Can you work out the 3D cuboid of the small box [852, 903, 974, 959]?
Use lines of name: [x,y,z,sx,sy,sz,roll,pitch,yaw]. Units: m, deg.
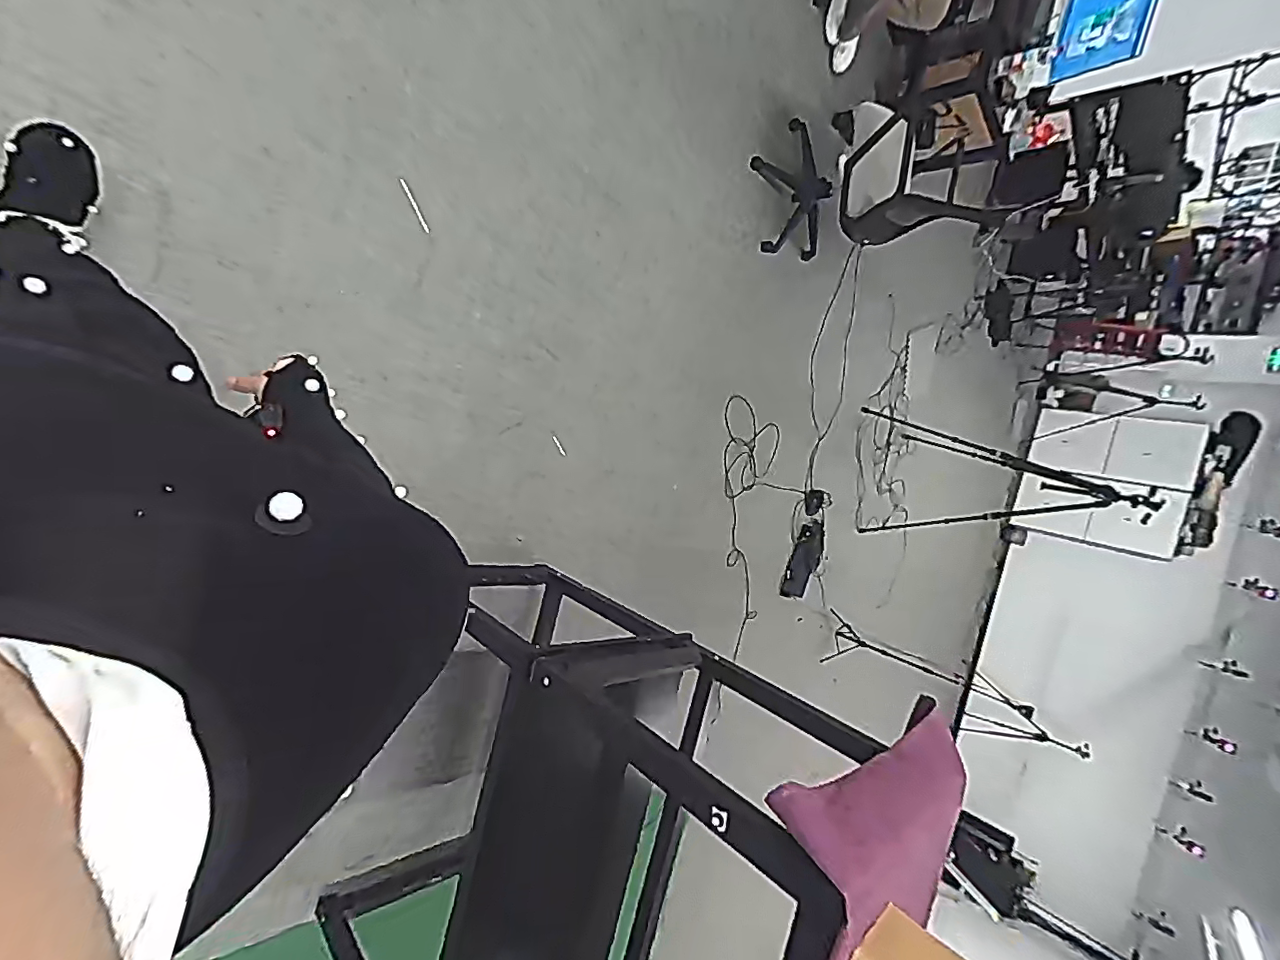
small box: [0.367,0.730,0.726,0.179,0.176,0.168,18,89,-48]
